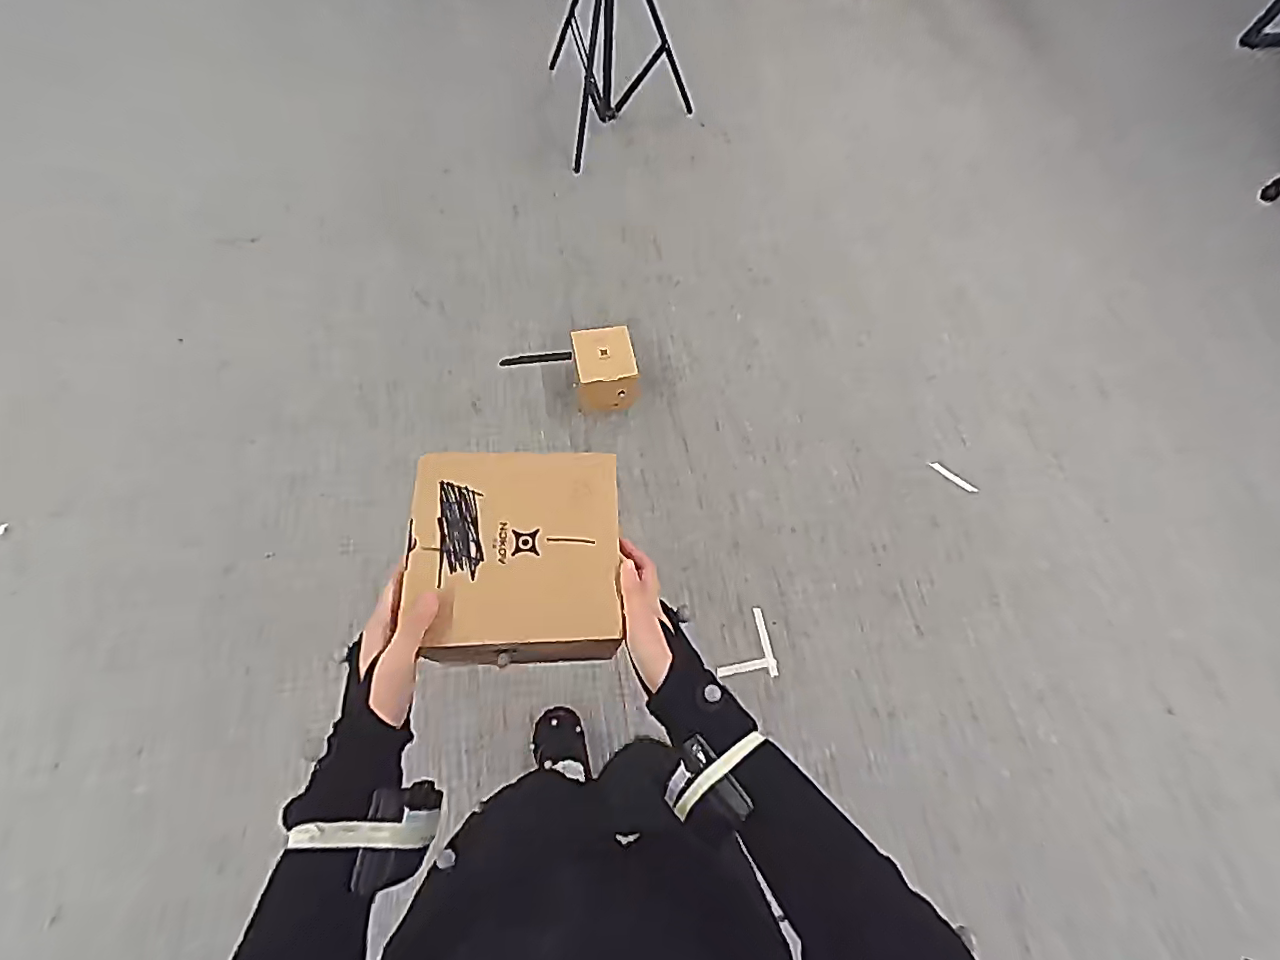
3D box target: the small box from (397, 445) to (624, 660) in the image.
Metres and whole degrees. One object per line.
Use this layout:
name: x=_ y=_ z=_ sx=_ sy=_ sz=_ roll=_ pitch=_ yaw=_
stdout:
small box: x=-0.109 y=0.077 z=0.521 sx=0.179 sy=0.176 sz=0.168 roll=0 pitch=66 yaw=-7
